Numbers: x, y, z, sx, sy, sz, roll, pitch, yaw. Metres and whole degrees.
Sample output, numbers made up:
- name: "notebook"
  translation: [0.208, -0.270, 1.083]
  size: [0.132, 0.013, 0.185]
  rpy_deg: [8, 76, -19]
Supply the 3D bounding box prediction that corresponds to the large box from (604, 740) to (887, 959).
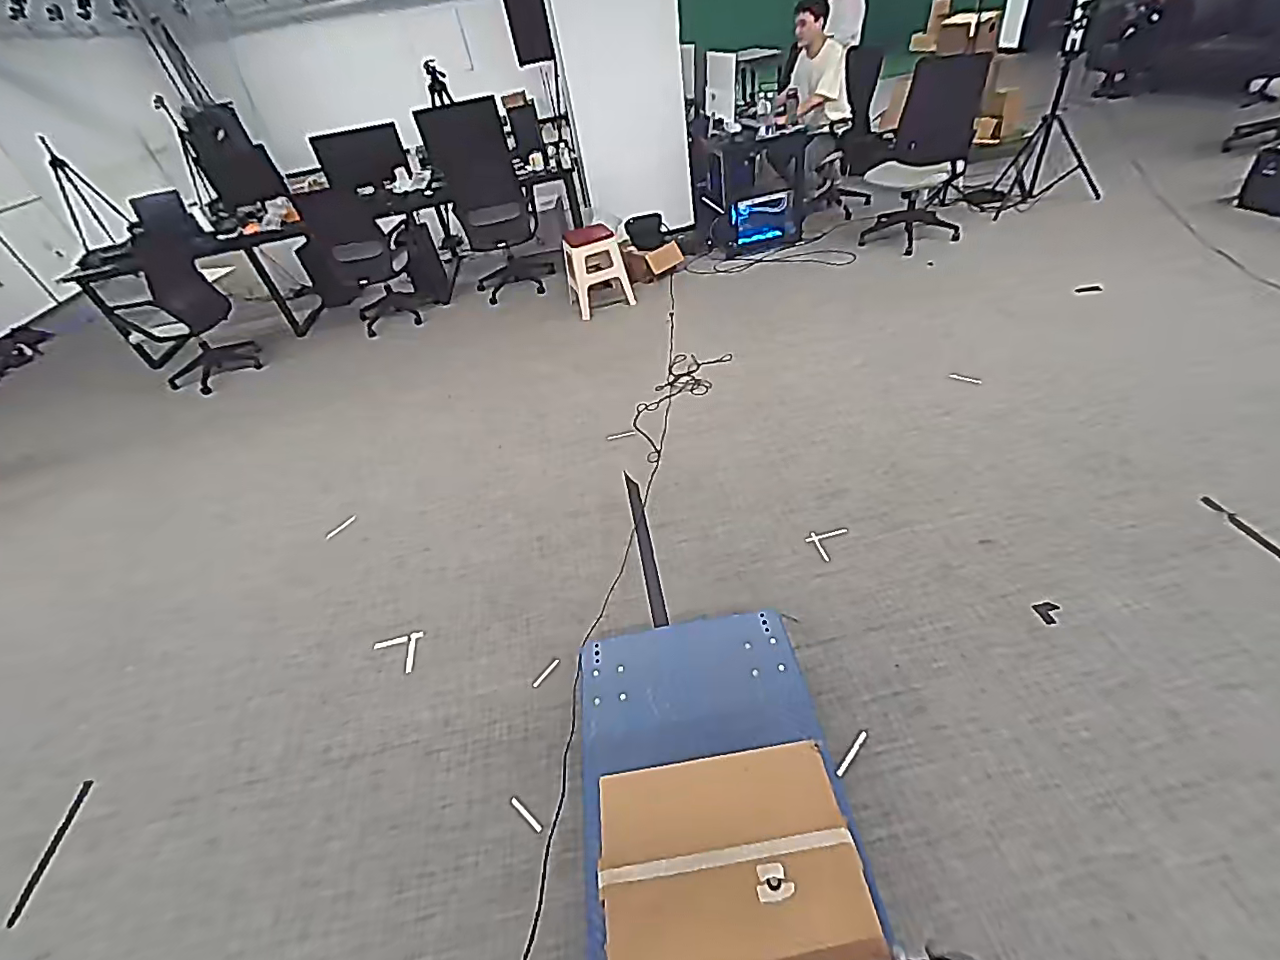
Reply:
- name: "large box"
  translation: [0.166, 0.729, 0.981]
  size: [0.408, 0.320, 0.320]
  rpy_deg: [-11, 41, 1]
